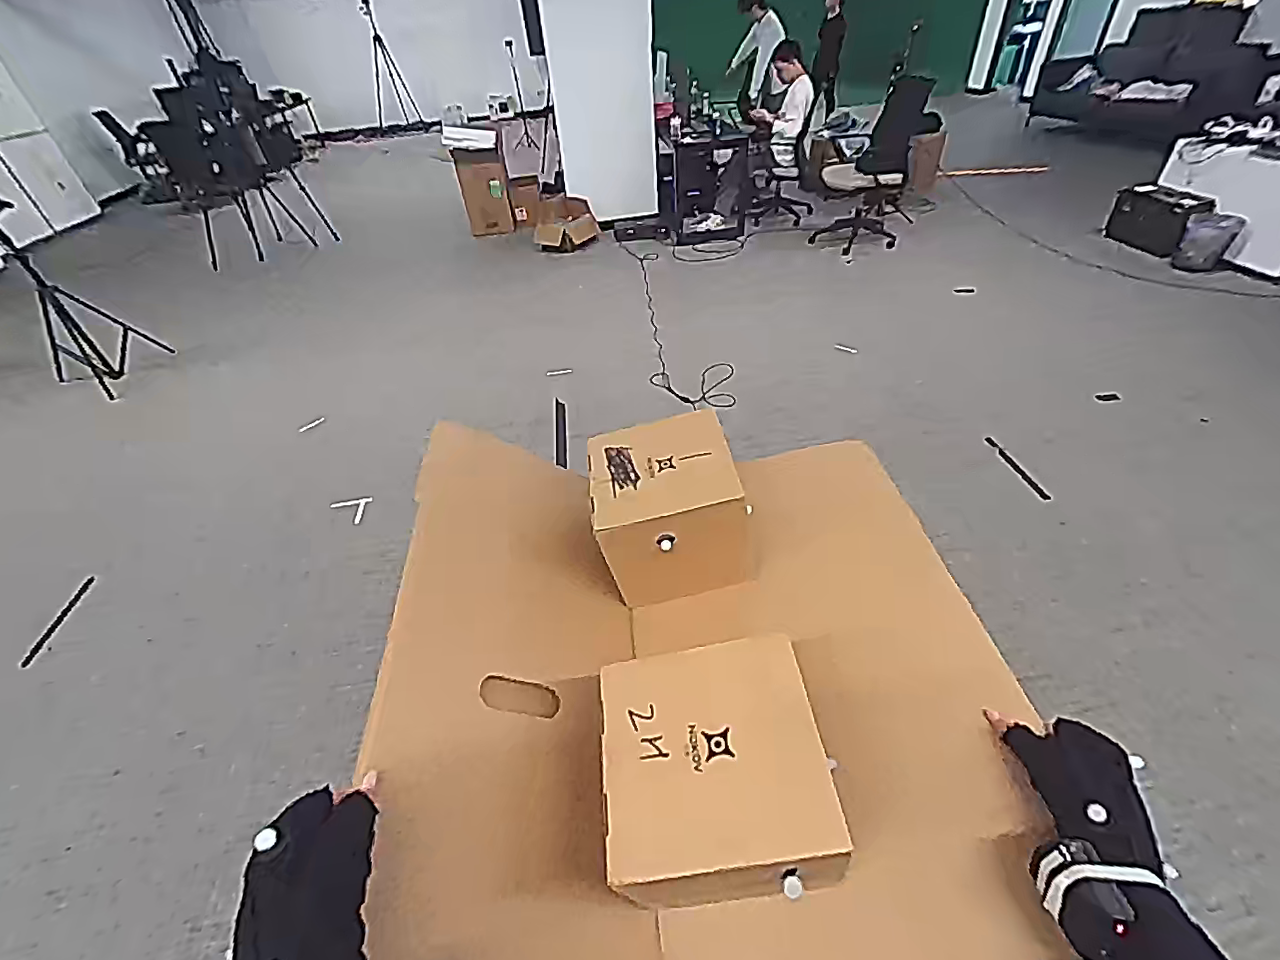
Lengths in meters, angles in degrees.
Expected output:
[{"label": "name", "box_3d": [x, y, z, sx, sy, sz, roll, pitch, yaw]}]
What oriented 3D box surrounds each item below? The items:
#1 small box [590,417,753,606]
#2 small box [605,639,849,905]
[{"label": "small box", "box_3d": [0.042, 0.047, 0.722, 0.179, 0.176, 0.168, -13, 45, 4]}, {"label": "small box", "box_3d": [0.074, 0.271, 0.496, 0.179, 0.176, 0.168, -12, 45, 7]}]
